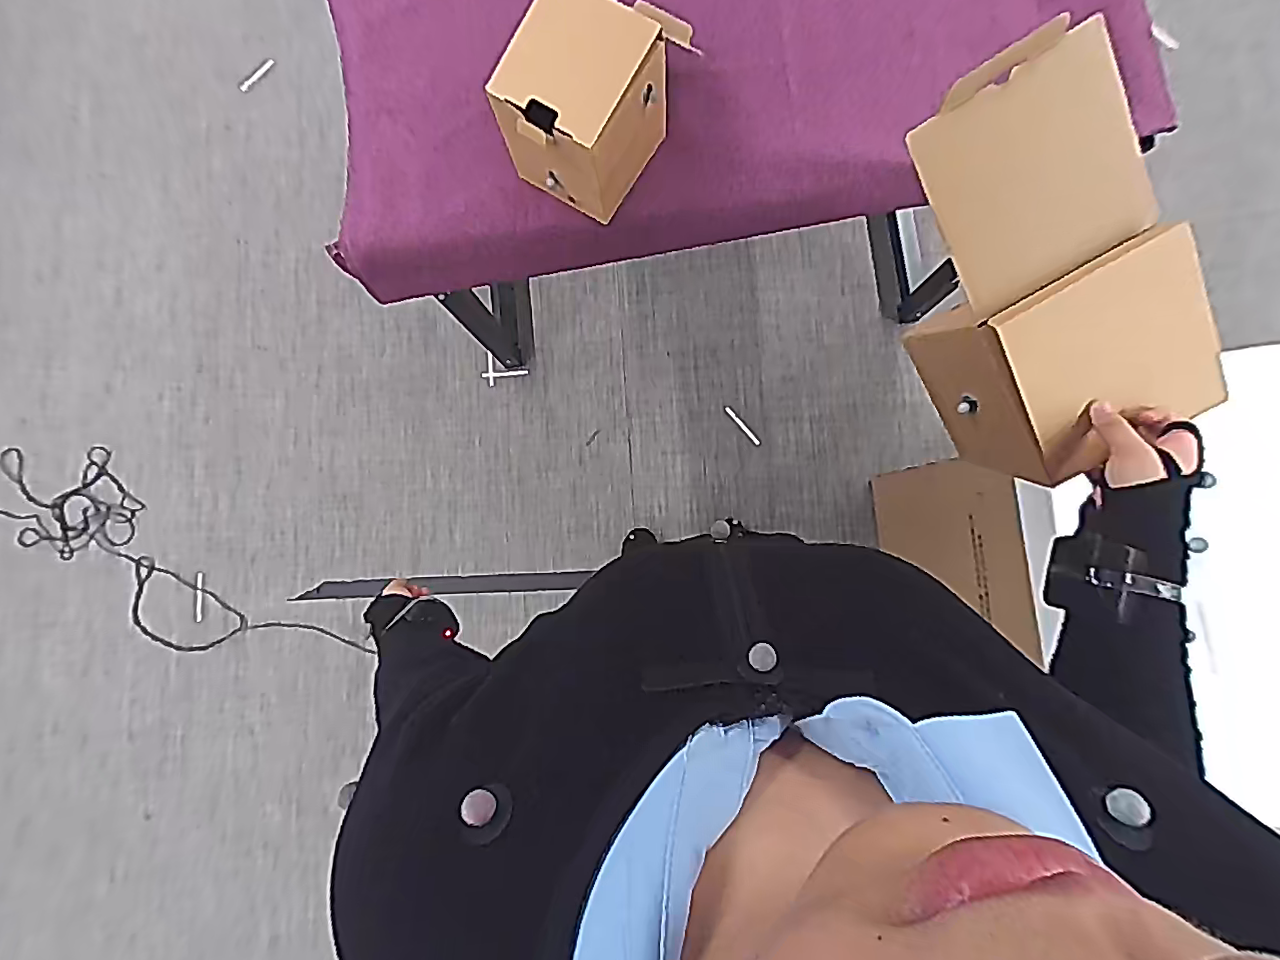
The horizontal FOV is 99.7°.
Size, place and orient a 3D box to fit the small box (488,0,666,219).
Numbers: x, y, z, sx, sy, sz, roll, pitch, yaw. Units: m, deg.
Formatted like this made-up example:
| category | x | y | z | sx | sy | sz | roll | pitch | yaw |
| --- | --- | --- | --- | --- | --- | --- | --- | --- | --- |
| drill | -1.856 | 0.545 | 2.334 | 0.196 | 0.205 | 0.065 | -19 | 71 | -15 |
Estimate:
| category | x | y | z | sx | sy | sz | roll | pitch | yaw |
| --- | --- | --- | --- | --- | --- | --- | --- | --- | --- |
| small box | -0.078 | -0.517 | 0.761 | 0.168 | 0.176 | 0.179 | 32 | 86 | 6 |
